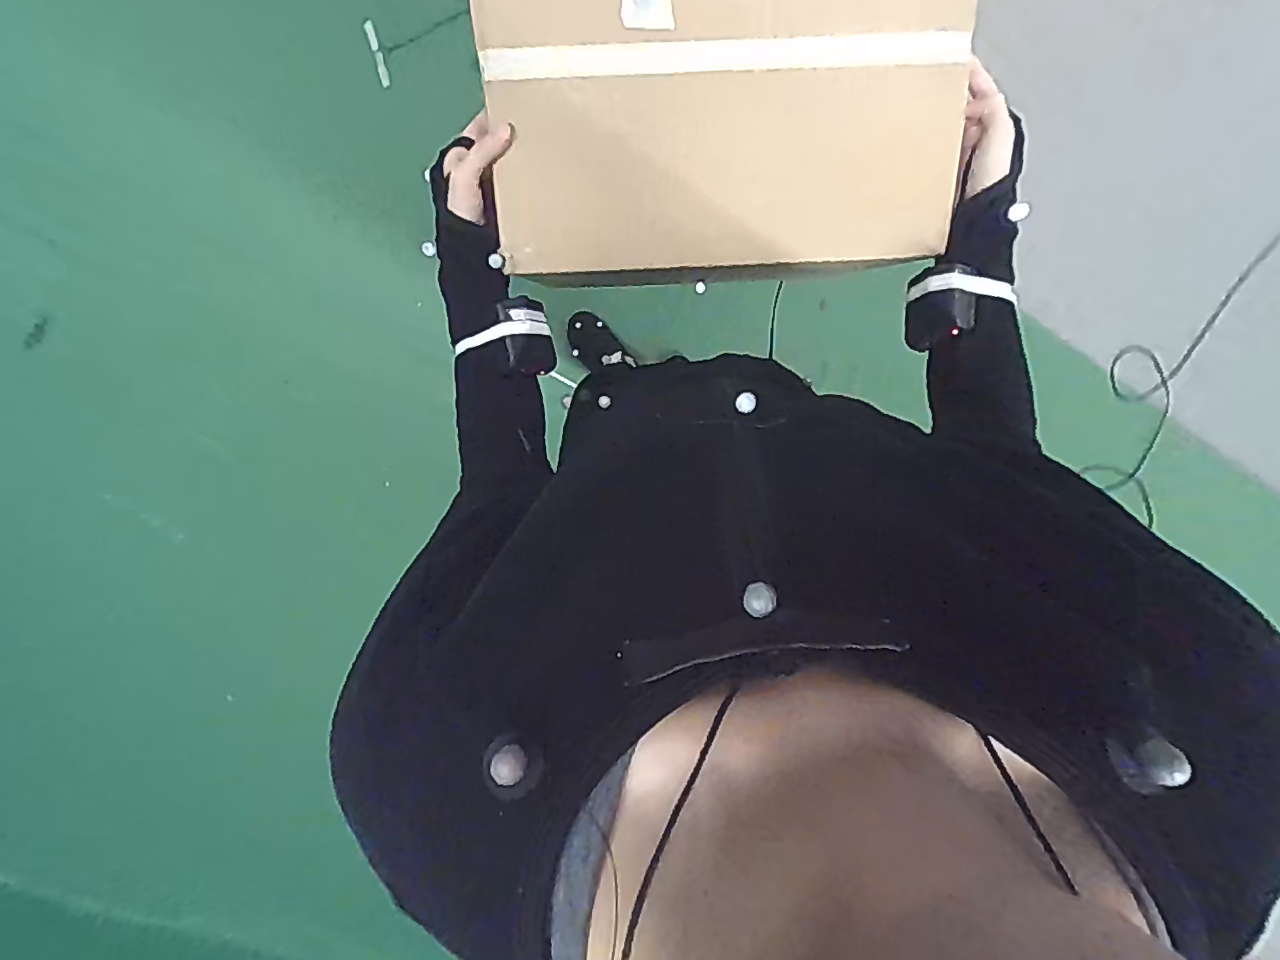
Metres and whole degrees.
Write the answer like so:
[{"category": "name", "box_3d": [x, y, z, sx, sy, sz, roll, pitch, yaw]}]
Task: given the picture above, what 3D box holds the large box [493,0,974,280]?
[{"category": "large box", "box_3d": [0.078, -0.397, 0.599, 0.408, 0.320, 0.320, -2, 107, -1]}]
